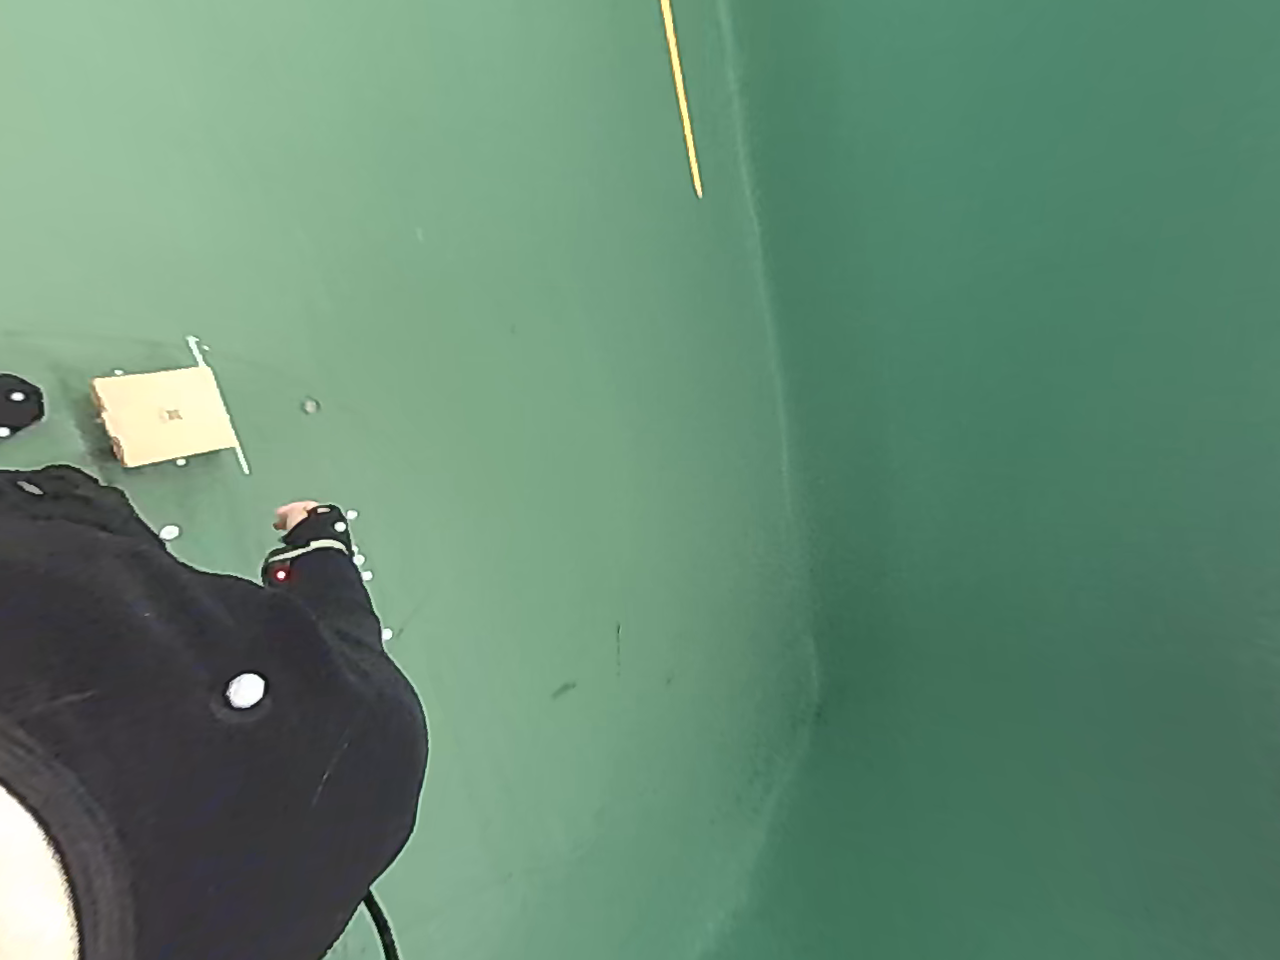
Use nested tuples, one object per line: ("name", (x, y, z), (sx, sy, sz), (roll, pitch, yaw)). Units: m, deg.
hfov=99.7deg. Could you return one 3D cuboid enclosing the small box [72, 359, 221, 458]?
("small box", (-0.987, -0.145, 1.082), (0.179, 0.176, 0.168), (-23, 110, -44))
